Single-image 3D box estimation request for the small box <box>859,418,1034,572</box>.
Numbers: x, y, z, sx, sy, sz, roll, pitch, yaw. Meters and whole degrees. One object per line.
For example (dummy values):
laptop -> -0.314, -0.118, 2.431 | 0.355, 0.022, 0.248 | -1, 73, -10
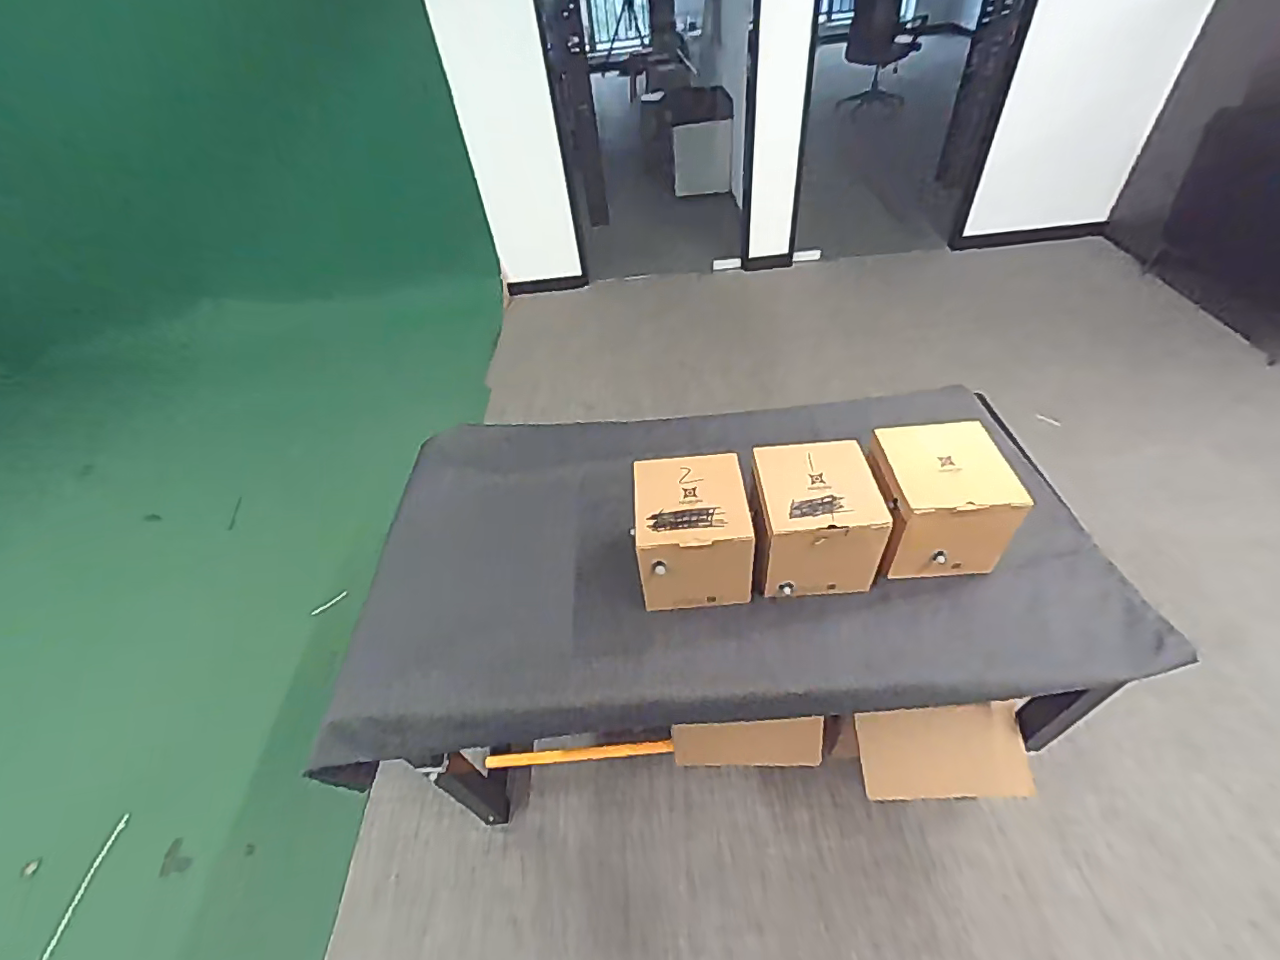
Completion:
small box -> 0.463, 0.025, 0.856 | 0.168, 0.176, 0.179 | -4, 47, 3
